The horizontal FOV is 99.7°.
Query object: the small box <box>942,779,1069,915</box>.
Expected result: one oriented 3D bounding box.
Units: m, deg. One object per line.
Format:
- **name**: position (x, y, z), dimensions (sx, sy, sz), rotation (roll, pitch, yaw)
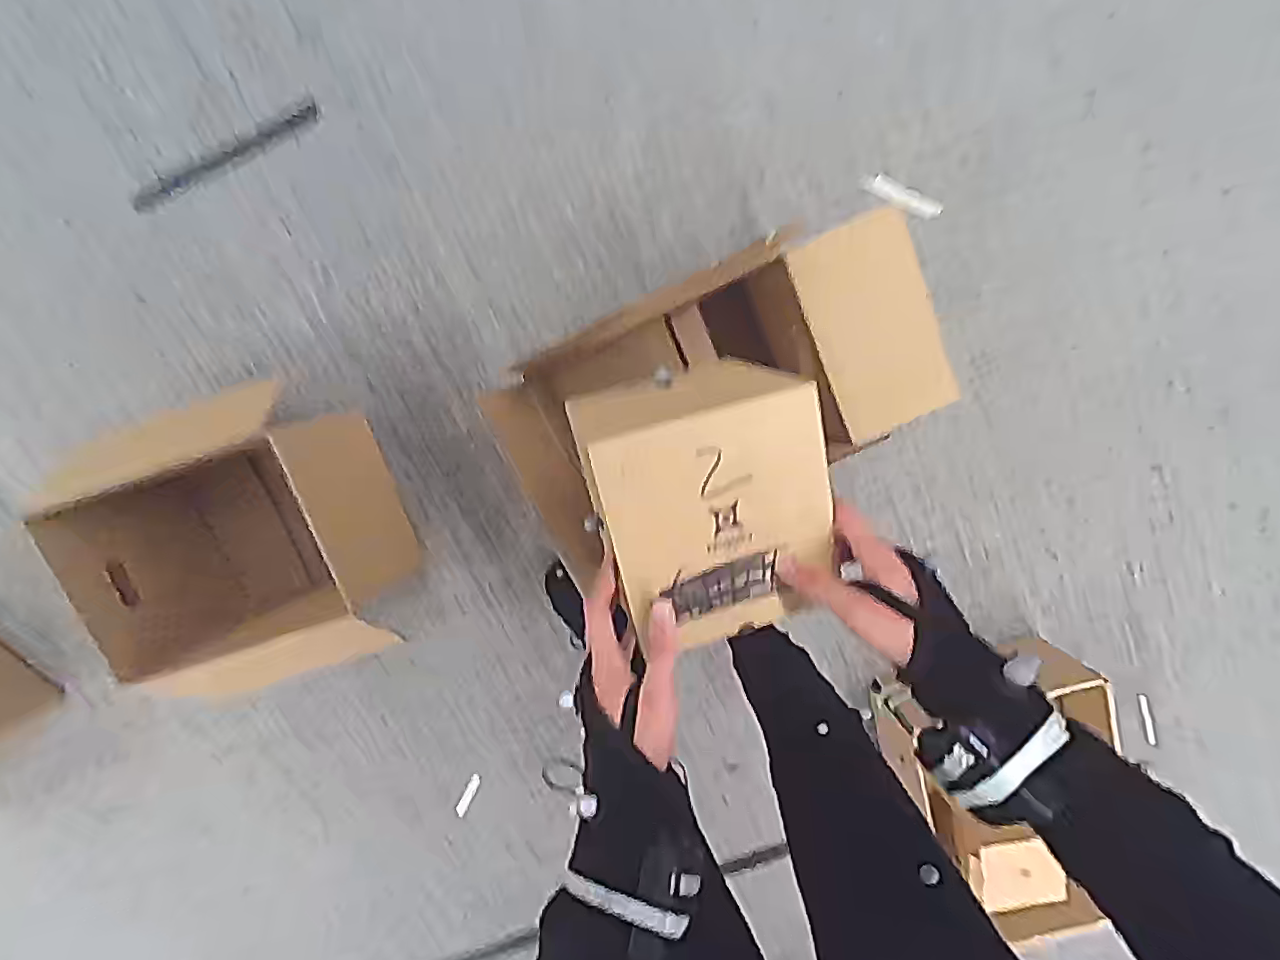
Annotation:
- **small box**: position (0.776, 0.783, 1.167), dimensions (0.179, 0.176, 0.168), rotation (-10, 102, 1)
